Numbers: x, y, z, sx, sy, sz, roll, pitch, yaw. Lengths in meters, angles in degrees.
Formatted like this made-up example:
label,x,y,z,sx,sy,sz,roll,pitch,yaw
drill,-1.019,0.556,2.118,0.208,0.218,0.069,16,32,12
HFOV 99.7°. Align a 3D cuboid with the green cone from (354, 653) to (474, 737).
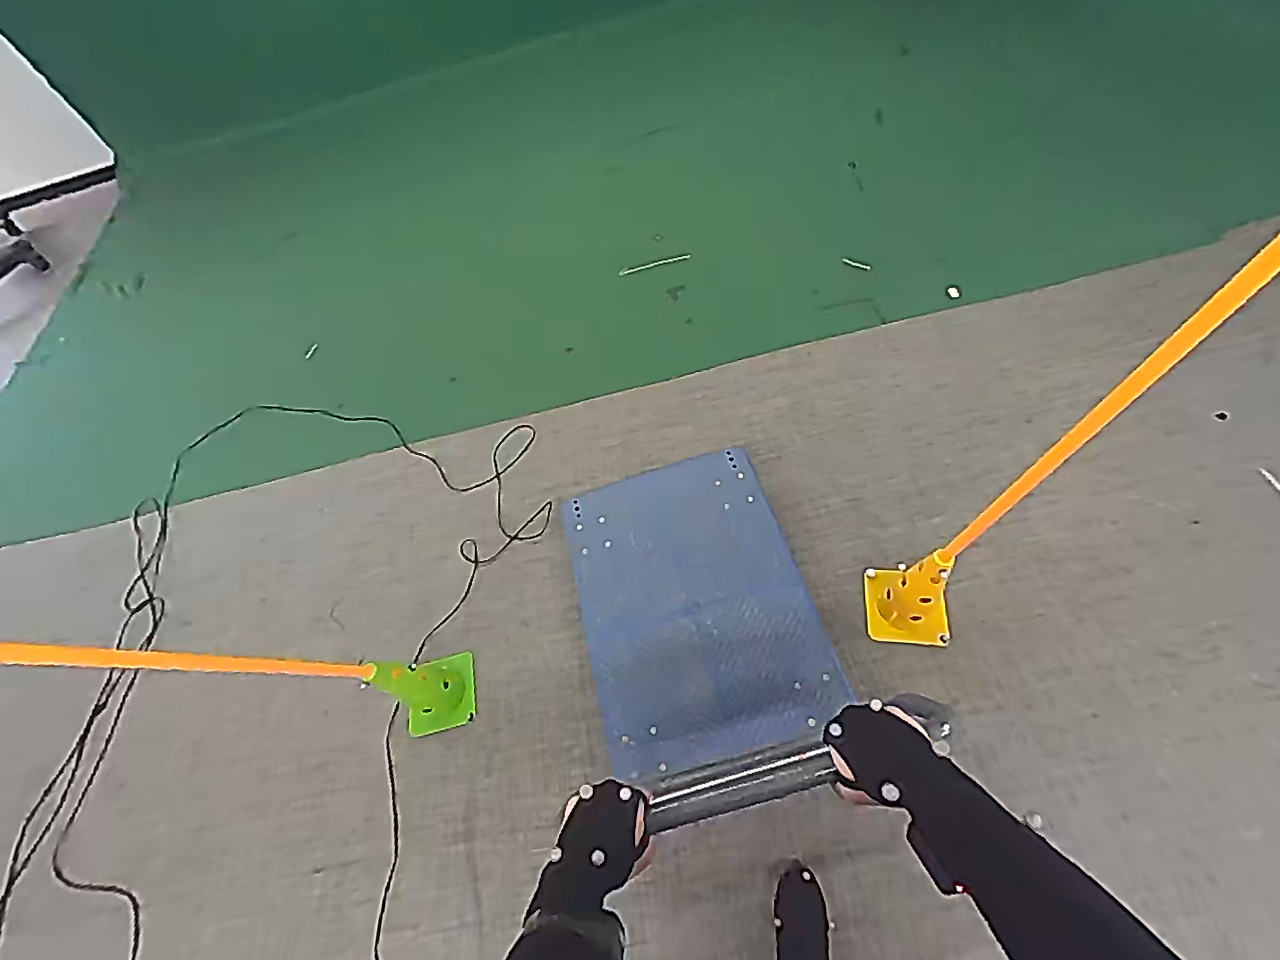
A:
label,x,y,z,sx,sy,sz,roll,pitch,yaw
green cone,-0.617,0.539,1.431,0.202,0.368,0.200,-18,58,4
